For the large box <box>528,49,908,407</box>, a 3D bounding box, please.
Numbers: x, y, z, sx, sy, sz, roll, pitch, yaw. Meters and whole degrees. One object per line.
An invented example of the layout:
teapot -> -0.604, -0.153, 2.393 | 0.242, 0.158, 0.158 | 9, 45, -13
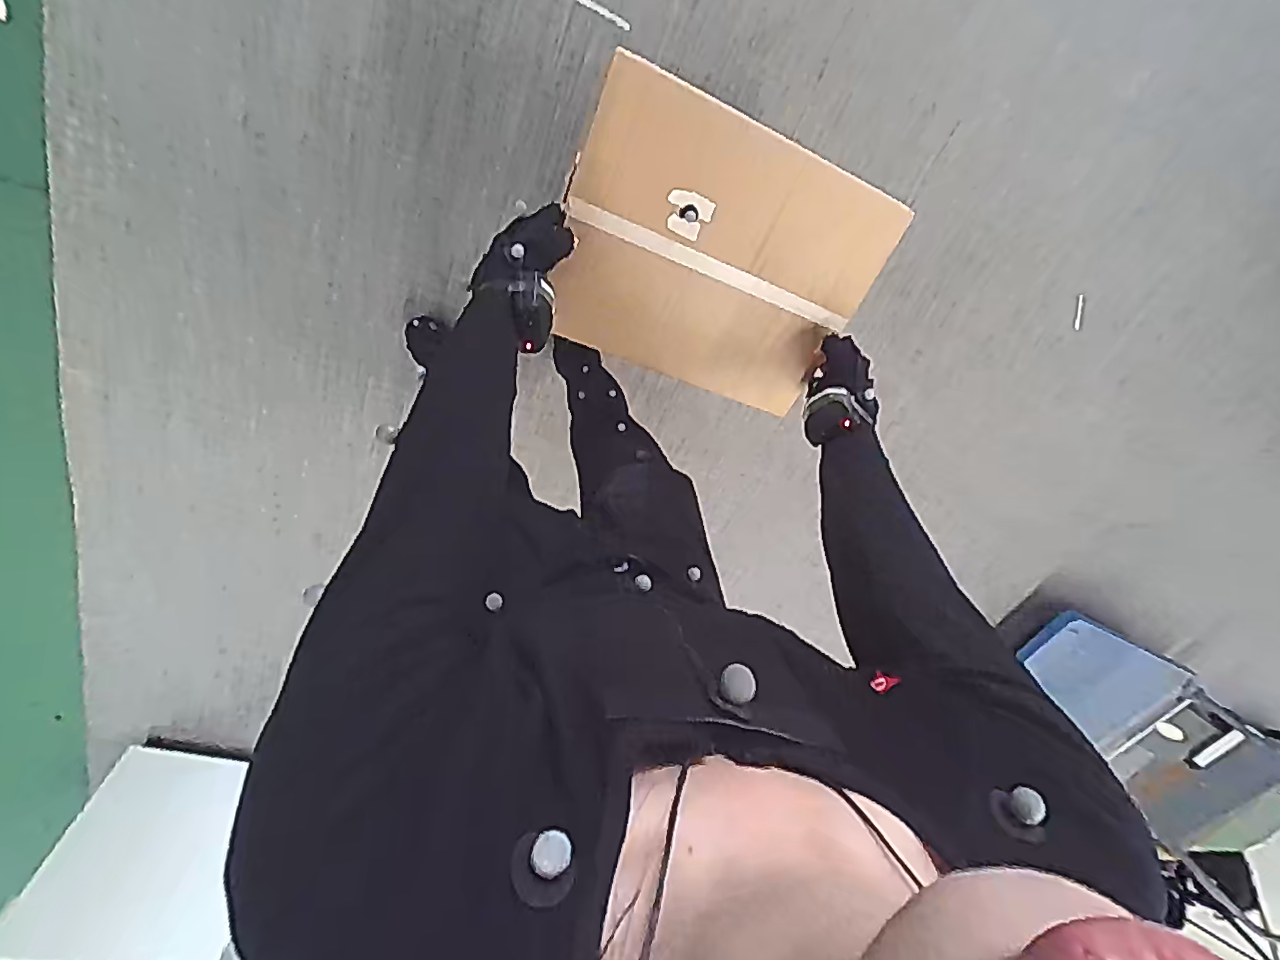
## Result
large box -> 0.083, -0.364, 0.804 | 0.408, 0.320, 0.320 | 17, 123, -16
